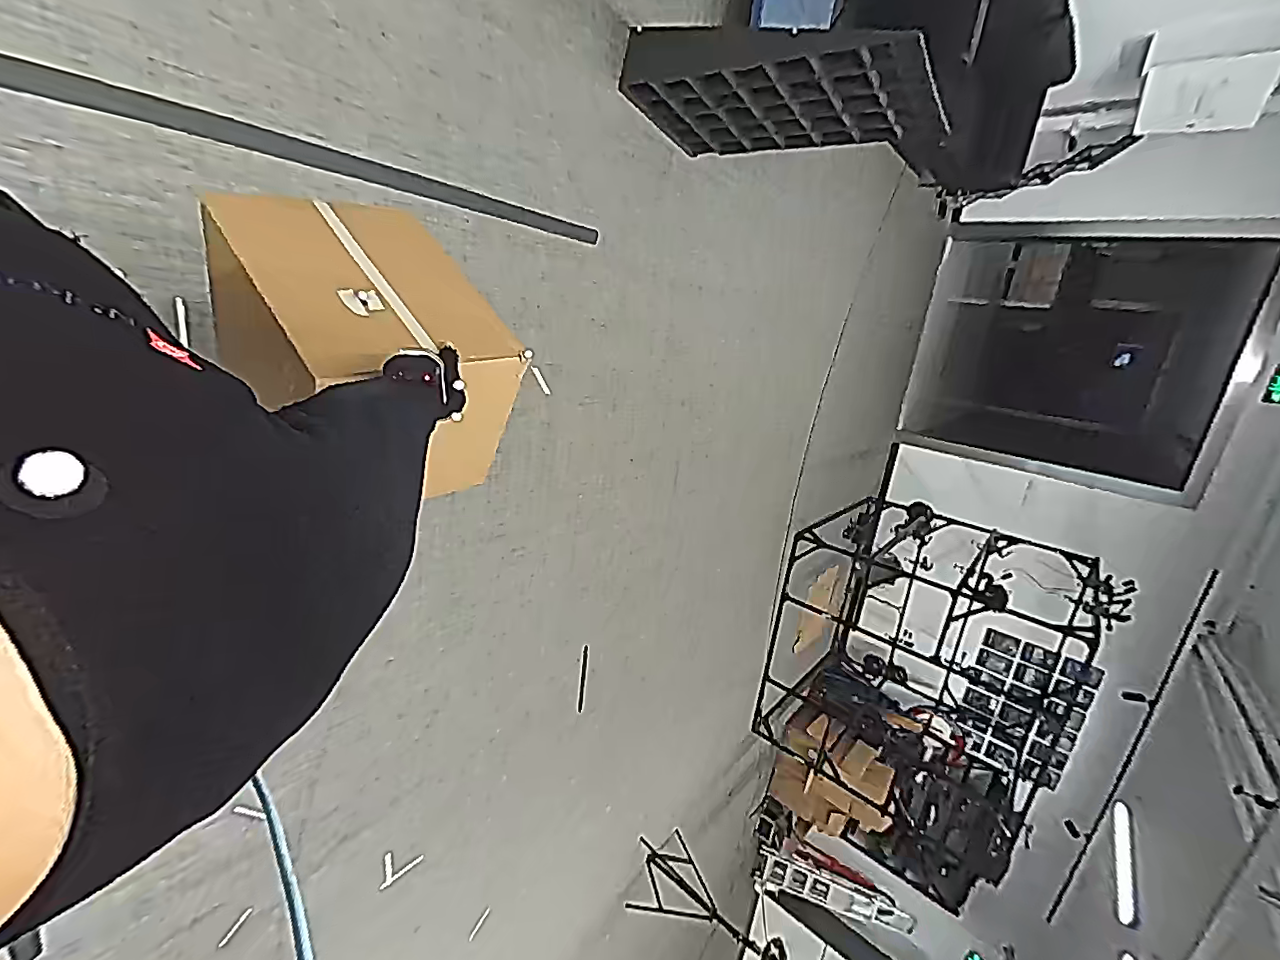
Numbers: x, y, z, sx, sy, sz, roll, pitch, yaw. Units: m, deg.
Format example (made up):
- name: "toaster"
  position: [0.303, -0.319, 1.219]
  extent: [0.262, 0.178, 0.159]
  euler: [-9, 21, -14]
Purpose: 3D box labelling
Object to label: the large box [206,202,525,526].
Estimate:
- name: "large box"
  position: [-0.472, -0.198, 0.918]
  extent: [0.320, 0.408, 0.320]
  euler: [-21, 154, -45]
